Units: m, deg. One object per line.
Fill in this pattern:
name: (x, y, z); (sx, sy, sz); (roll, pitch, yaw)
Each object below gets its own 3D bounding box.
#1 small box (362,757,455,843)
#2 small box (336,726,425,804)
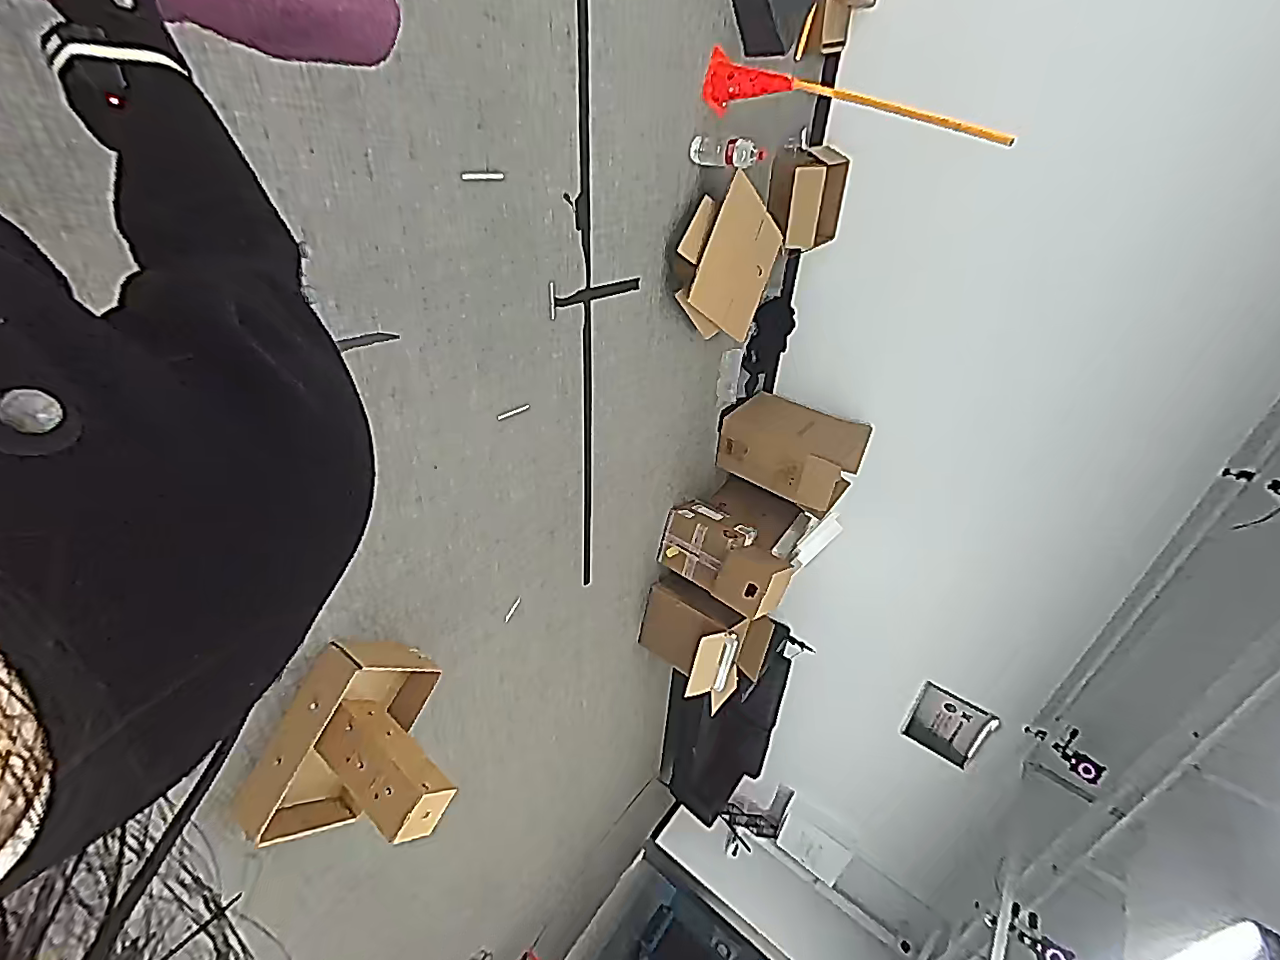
small box: (-0.747, 1.021, 1.747); (0.168, 0.176, 0.179); (-59, 151, -9)
small box: (-0.876, 0.950, 1.818); (0.168, 0.176, 0.179); (-58, 151, -10)
